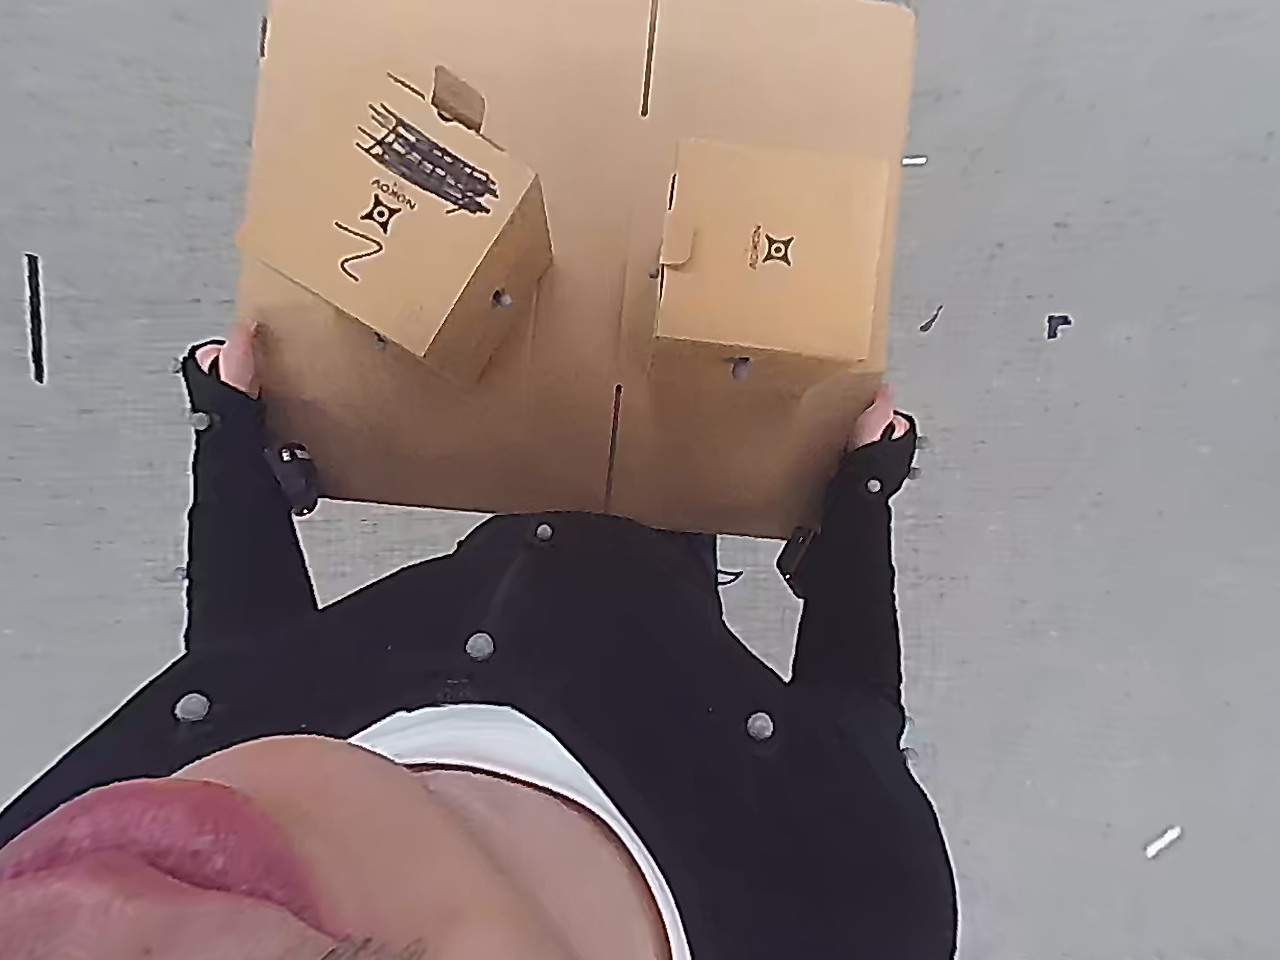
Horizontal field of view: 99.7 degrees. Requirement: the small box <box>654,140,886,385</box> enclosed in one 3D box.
[{"bbox_3d":[0.111,-0.194,0.532,0.179,0.176,0.168,7,90,0],"label":"small box"}]
